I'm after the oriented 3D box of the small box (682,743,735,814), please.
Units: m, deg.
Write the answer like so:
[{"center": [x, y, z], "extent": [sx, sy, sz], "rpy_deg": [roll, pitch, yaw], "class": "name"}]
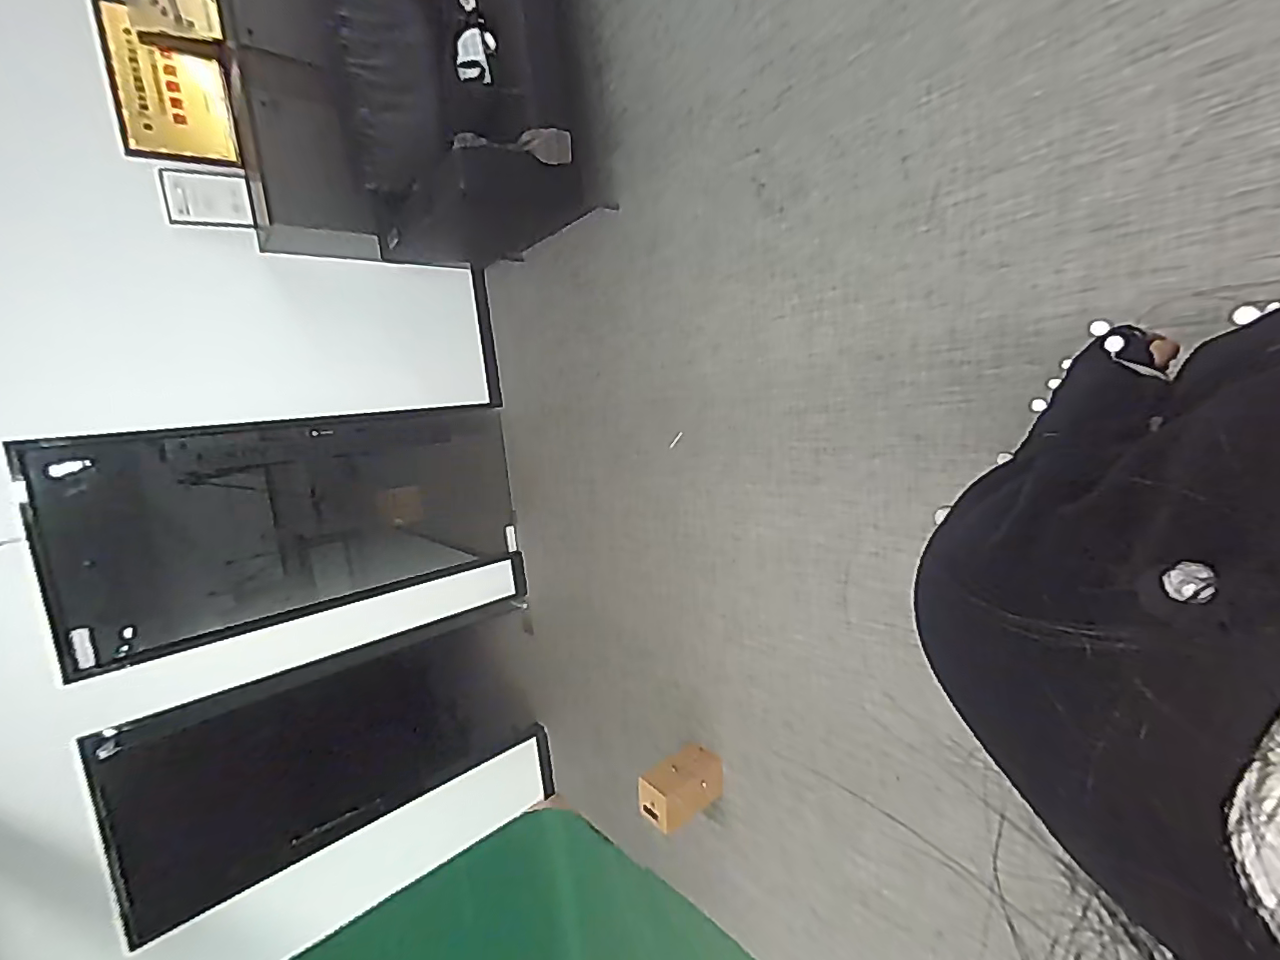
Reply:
[{"center": [0.296, 1.272, 2.324], "extent": [0.168, 0.176, 0.179], "rpy_deg": [11, 109, 49], "class": "small box"}]
